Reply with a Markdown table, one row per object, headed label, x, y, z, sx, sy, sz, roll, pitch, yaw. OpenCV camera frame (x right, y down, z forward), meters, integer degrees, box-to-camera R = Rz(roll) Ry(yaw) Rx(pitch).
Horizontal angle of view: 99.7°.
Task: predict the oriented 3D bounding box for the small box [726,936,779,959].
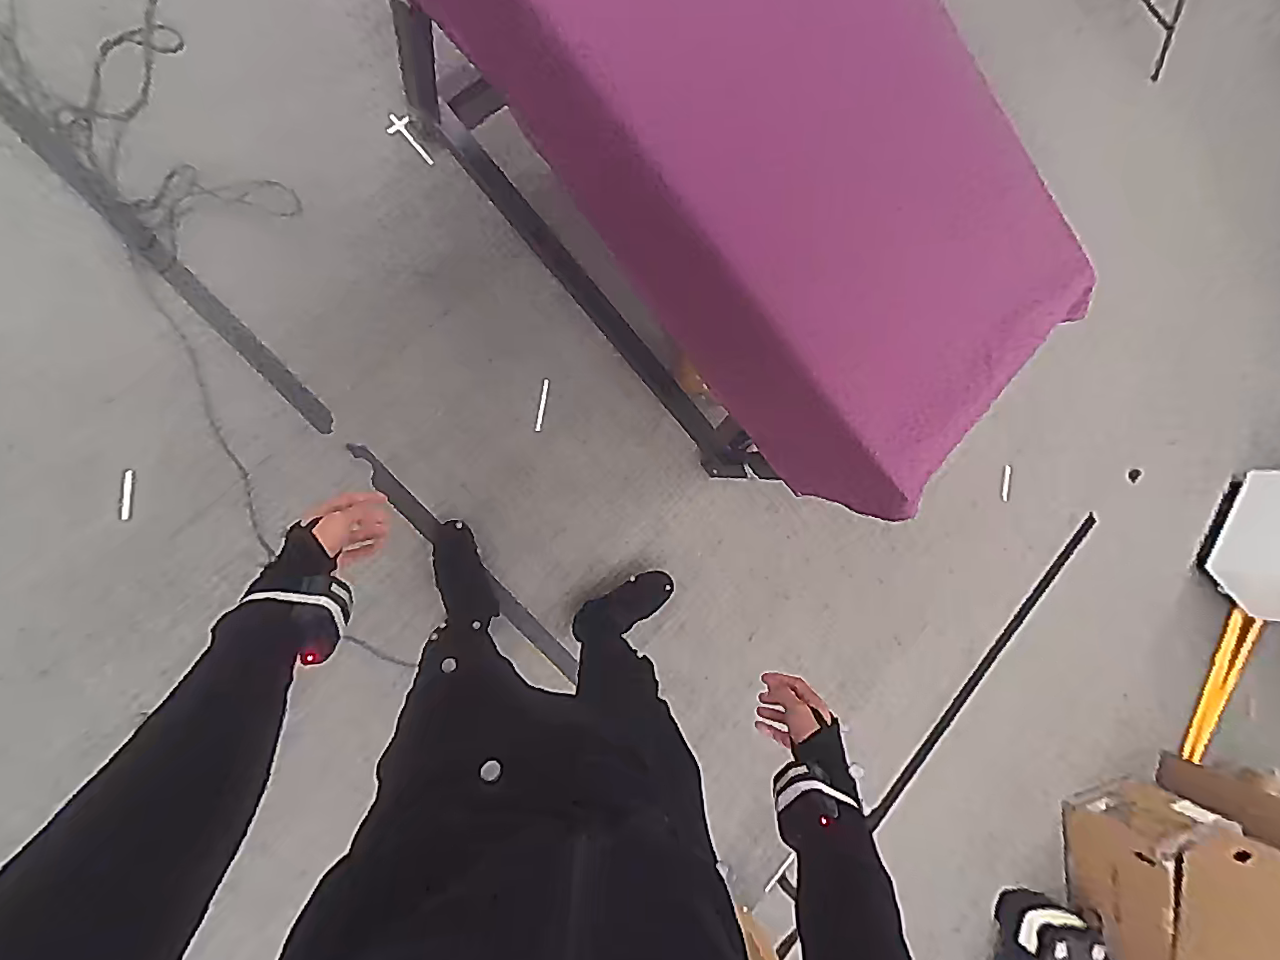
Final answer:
| label | x | y | z | sx | sy | sz | roll | pitch | yaw |
| --- | --- | --- | --- | --- | --- | --- | --- | --- | --- |
| small box | 0.316 | 1.334 | 1.381 | 0.168 | 0.176 | 0.179 | -42 | 102 | -12 |

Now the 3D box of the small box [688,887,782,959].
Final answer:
| label | x | y | z | sx | sy | sz | roll | pitch | yaw |
| --- | --- | --- | --- | --- | --- | --- | --- | --- | --- |
| small box | 0.257 | 1.323 | 1.533 | 0.179 | 0.176 | 0.168 | -46 | 104 | -12 |
